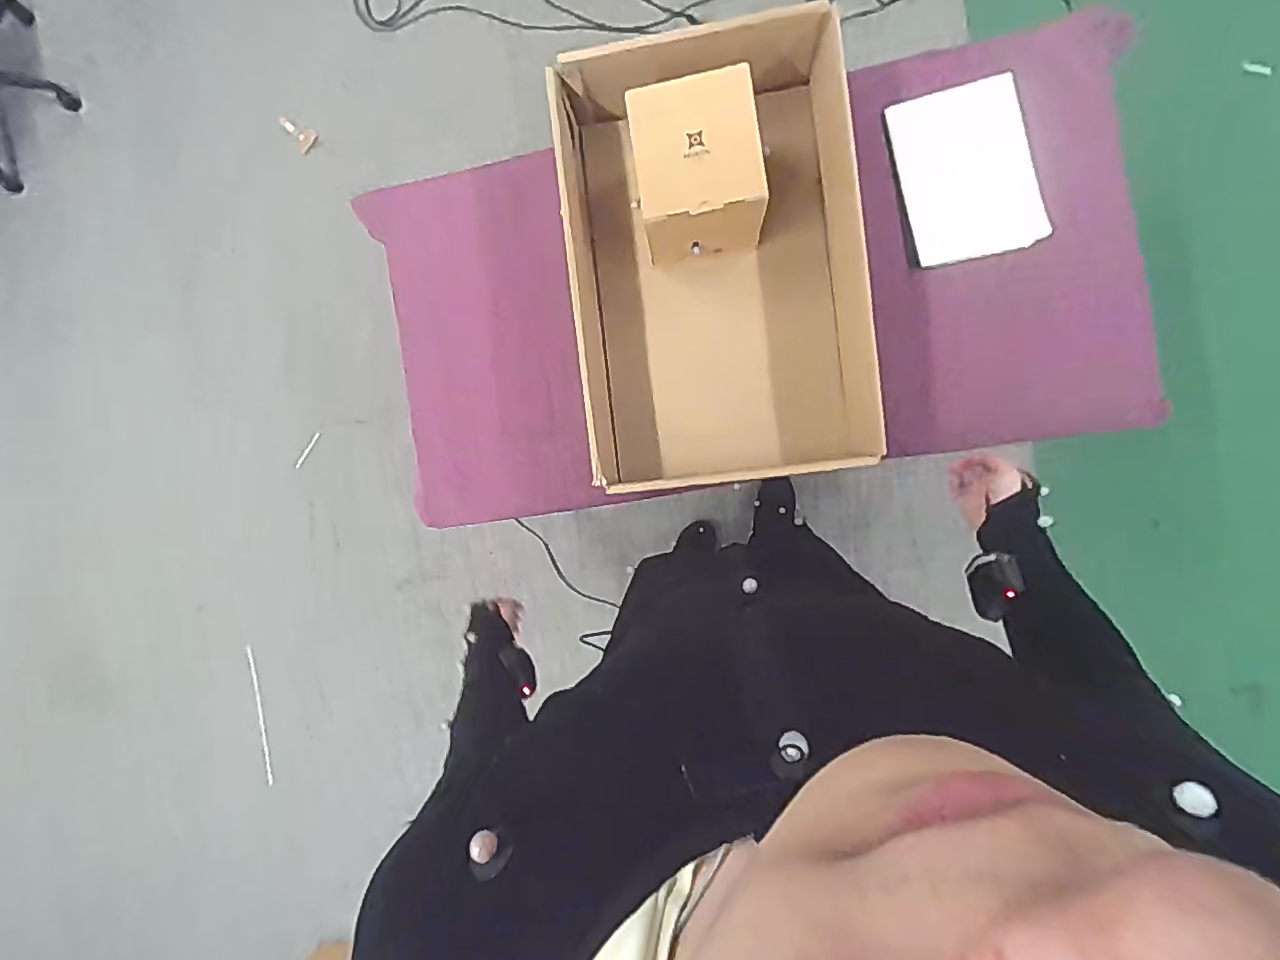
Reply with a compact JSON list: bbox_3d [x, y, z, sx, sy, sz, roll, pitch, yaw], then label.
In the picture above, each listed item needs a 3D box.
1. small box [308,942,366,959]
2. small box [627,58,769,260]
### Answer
[{"bbox_3d":[-0.985,1.611,1.707,0.179,0.176,0.168,-12,88,7],"label":"small box"},{"bbox_3d":[0.081,-0.445,0.778,0.168,0.176,0.179,-9,91,6],"label":"small box"}]
